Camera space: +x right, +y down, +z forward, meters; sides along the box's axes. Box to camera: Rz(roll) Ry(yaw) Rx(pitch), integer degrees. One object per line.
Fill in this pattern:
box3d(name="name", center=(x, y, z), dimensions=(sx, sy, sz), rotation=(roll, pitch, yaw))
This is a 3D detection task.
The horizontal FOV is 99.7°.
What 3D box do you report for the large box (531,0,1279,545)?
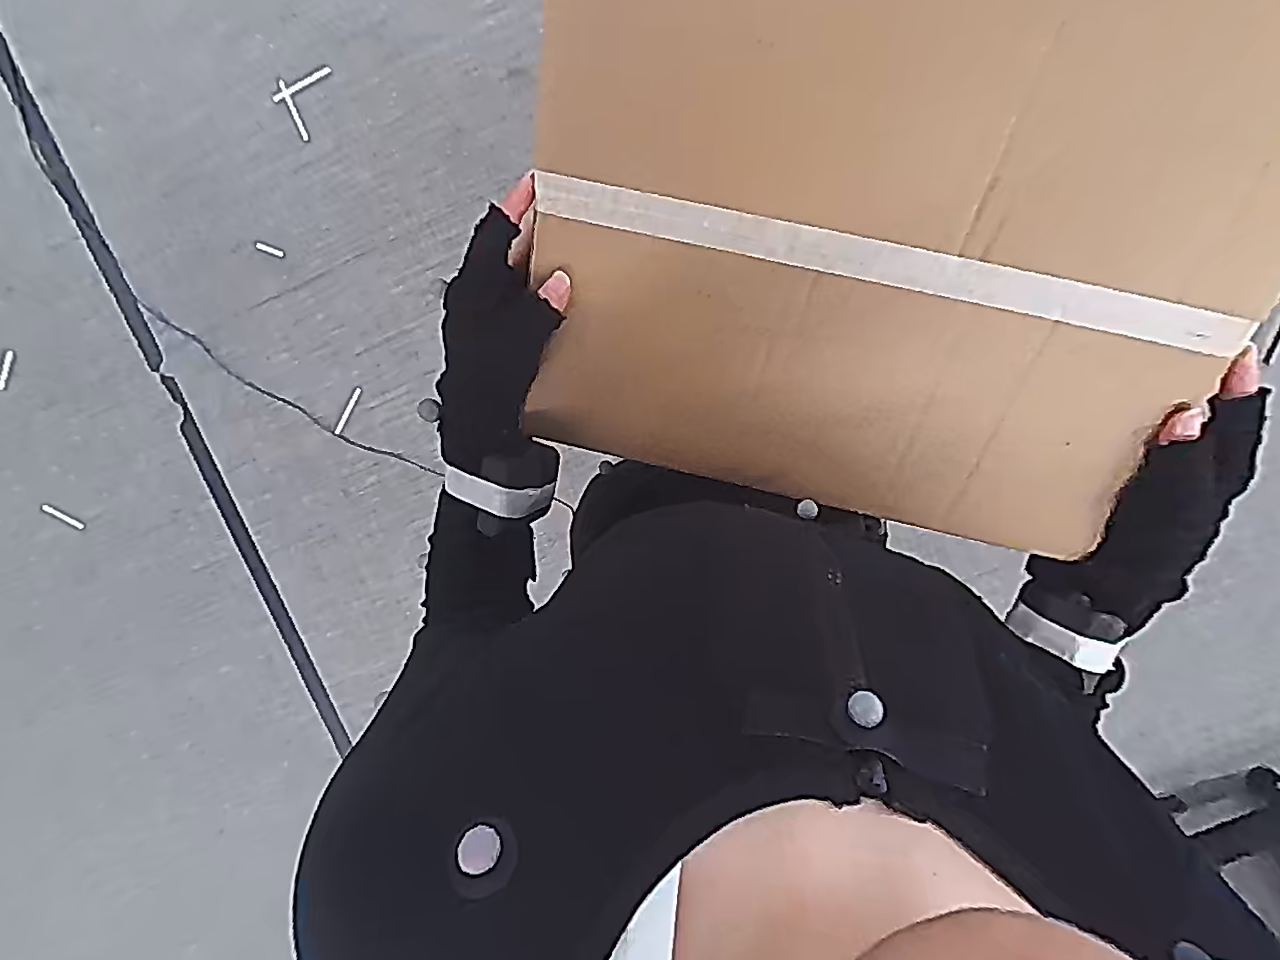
box3d(name="large box", center=(0.156, -0.194, 0.446), dimensions=(0.408, 0.320, 0.320), rotation=(13, 120, 1))
